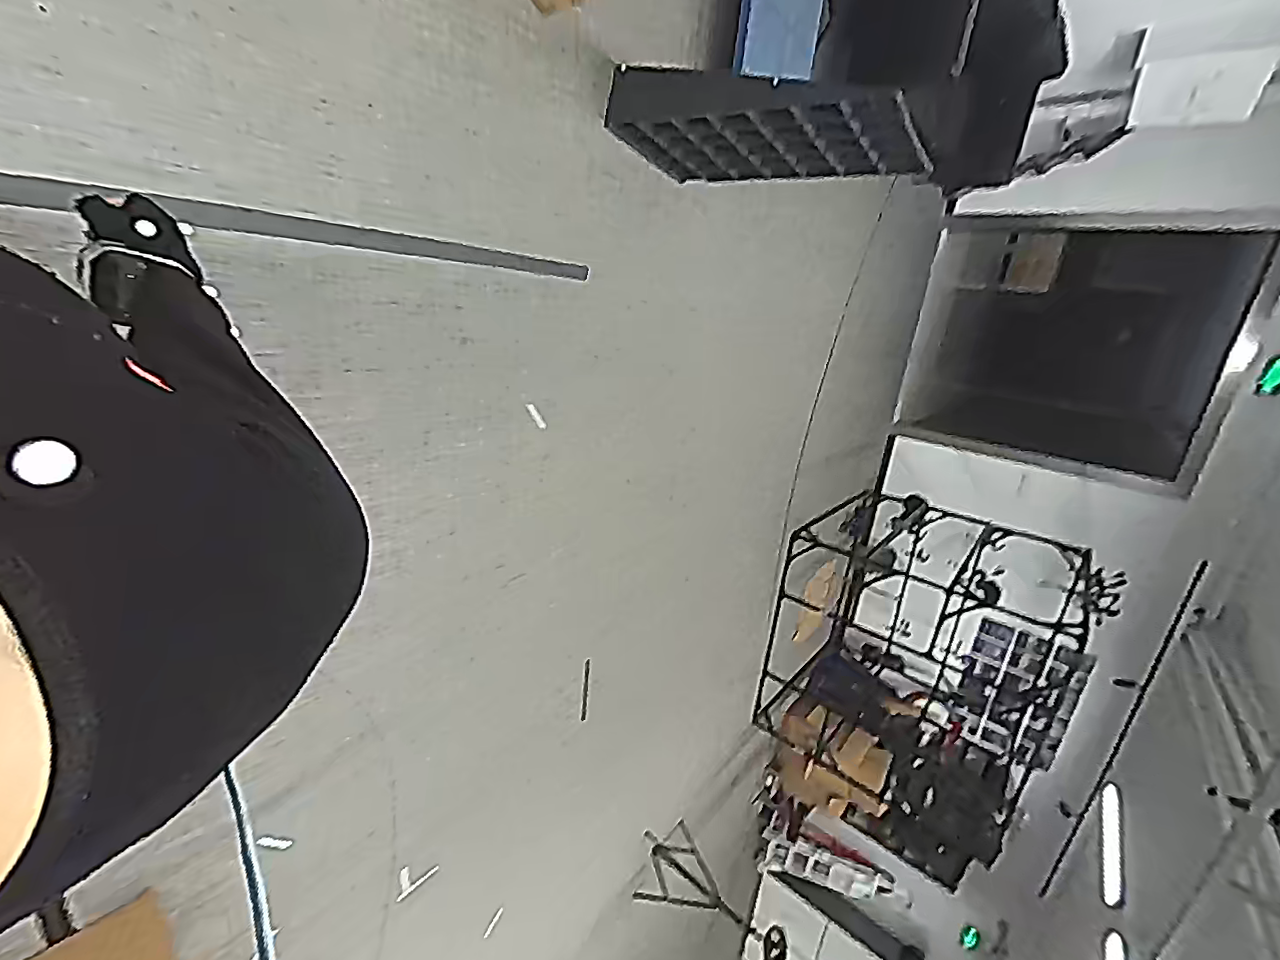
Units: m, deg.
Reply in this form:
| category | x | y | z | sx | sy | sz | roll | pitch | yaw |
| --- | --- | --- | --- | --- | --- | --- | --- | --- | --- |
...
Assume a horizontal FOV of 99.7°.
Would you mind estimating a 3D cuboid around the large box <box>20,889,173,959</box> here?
| category | x | y | z | sx | sy | sz | roll | pitch | yaw |
| --- | --- | --- | --- | --- | --- | --- | --- | --- | --- |
| large box | -1.322 | 1.287 | 1.236 | 0.408 | 0.320 | 0.320 | -15 | 118 | -49 |
